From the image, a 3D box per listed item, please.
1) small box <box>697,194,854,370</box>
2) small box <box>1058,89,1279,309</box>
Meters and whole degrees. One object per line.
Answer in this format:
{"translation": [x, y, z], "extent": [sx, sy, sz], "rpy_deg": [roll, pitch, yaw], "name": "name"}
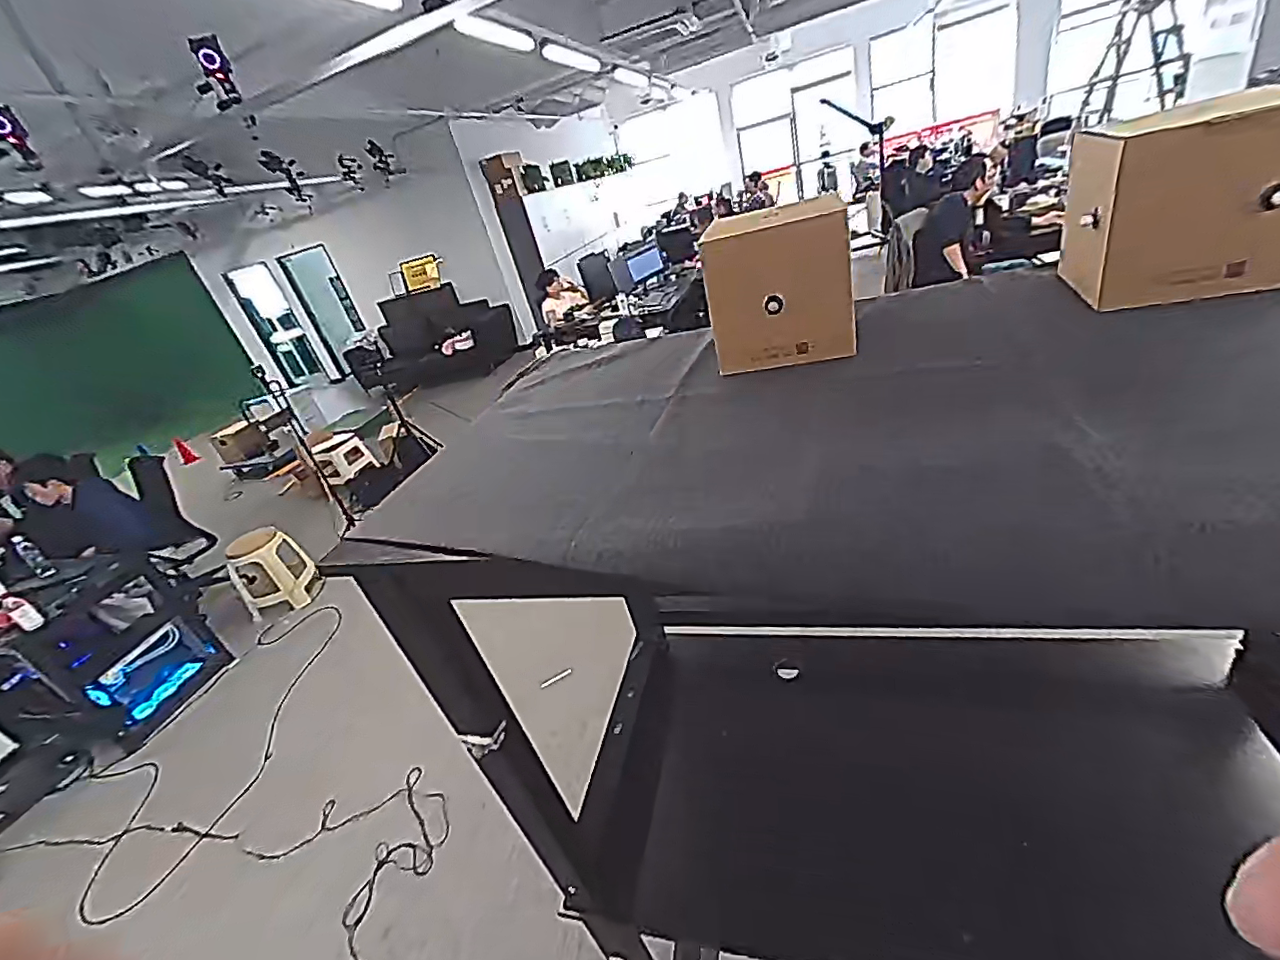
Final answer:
{"translation": [0.181, -0.250, 0.700], "extent": [0.168, 0.176, 0.179], "rpy_deg": [-5, 31, 19], "name": "small box"}
{"translation": [0.572, -0.288, 0.572], "extent": [0.168, 0.176, 0.179], "rpy_deg": [-1, 31, 24], "name": "small box"}
